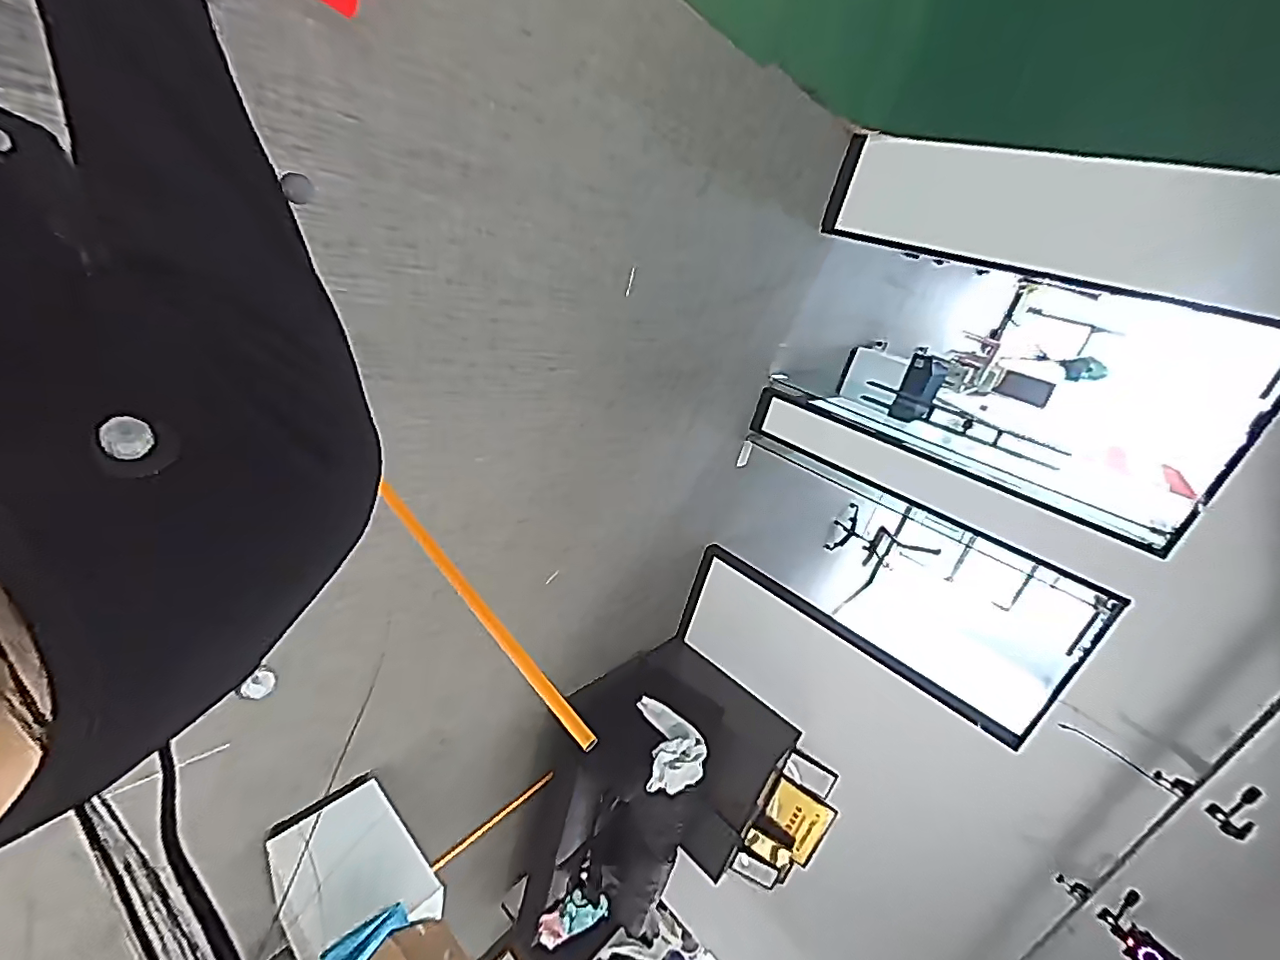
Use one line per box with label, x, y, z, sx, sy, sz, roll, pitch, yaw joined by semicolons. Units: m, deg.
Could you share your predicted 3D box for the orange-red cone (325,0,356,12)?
orange-red cone;-0.520;-1.006;0.970;0.198;0.360;0.199;4;114;-54
